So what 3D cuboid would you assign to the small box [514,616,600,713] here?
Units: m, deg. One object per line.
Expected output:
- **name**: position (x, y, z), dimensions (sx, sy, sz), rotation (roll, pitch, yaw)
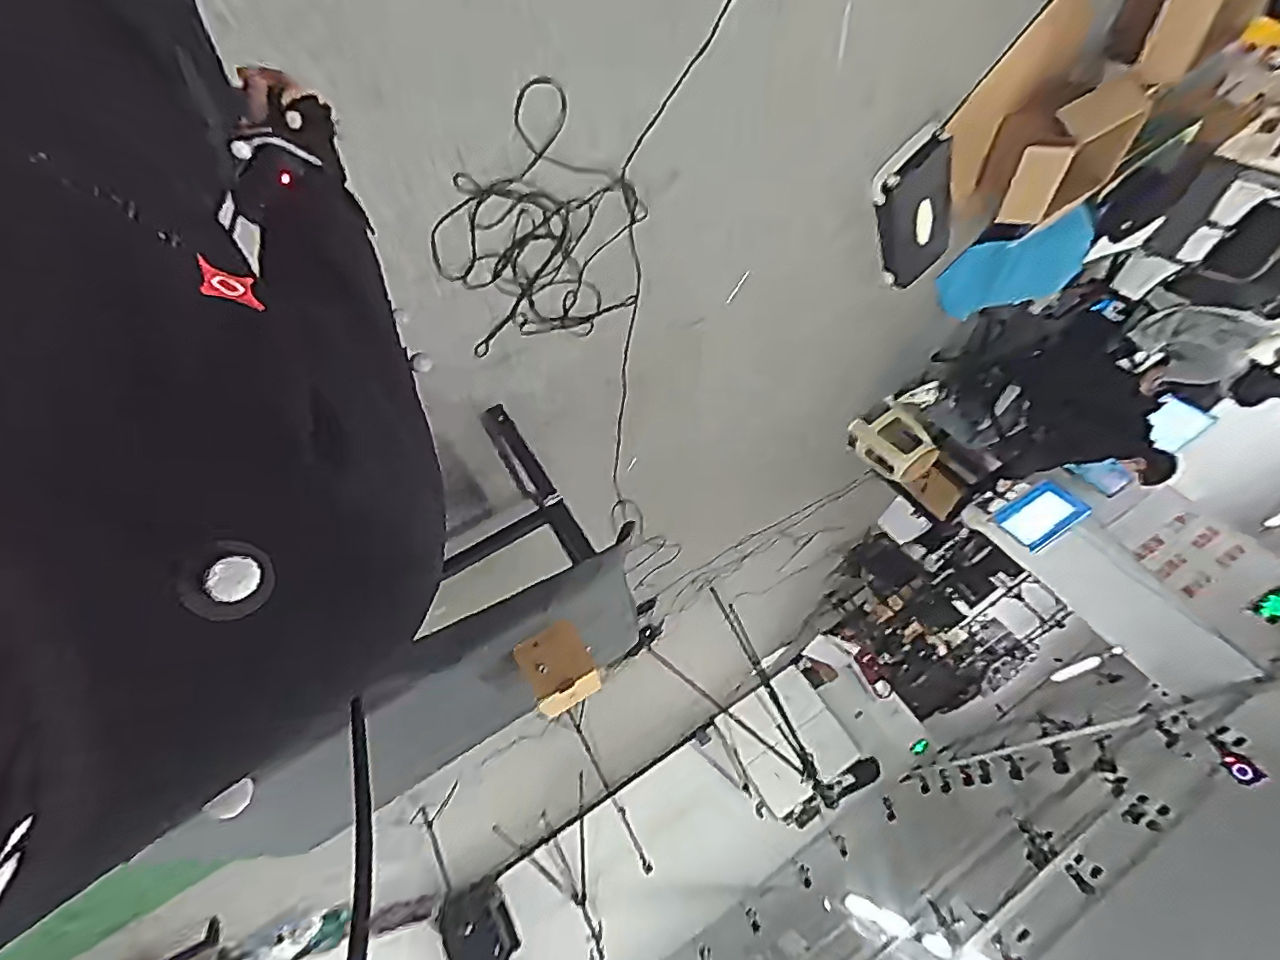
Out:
- **small box**: position (-0.223, 0.490, 1.452), dimensions (0.168, 0.176, 0.179), rotation (-26, 151, -15)
